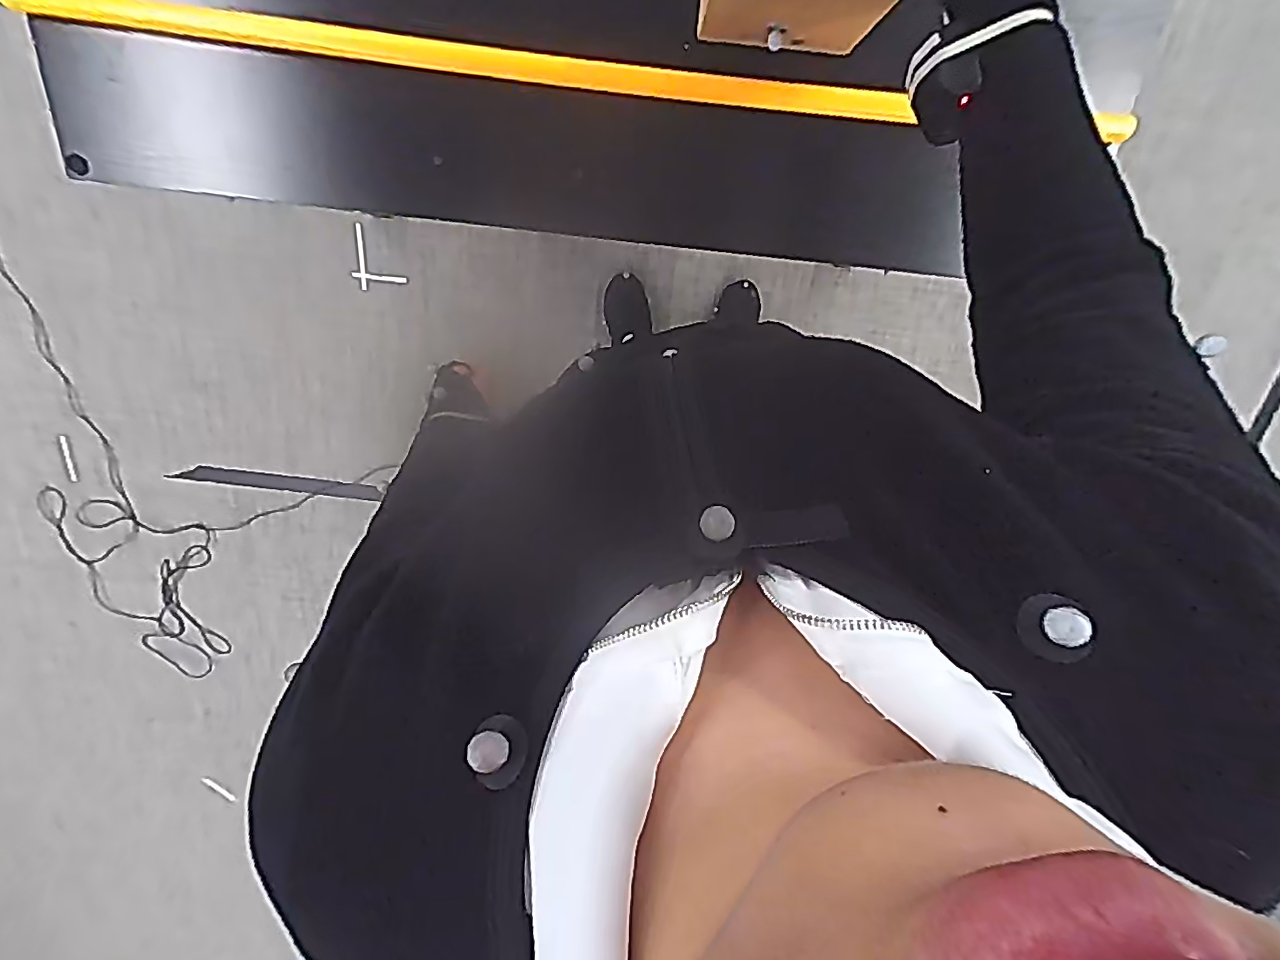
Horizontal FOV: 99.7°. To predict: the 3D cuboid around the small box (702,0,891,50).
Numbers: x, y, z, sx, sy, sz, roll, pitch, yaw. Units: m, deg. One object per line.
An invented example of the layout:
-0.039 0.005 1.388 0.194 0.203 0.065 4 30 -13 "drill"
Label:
0.151 -0.526 0.480 0.168 0.176 0.179 5 112 -1 "small box"
